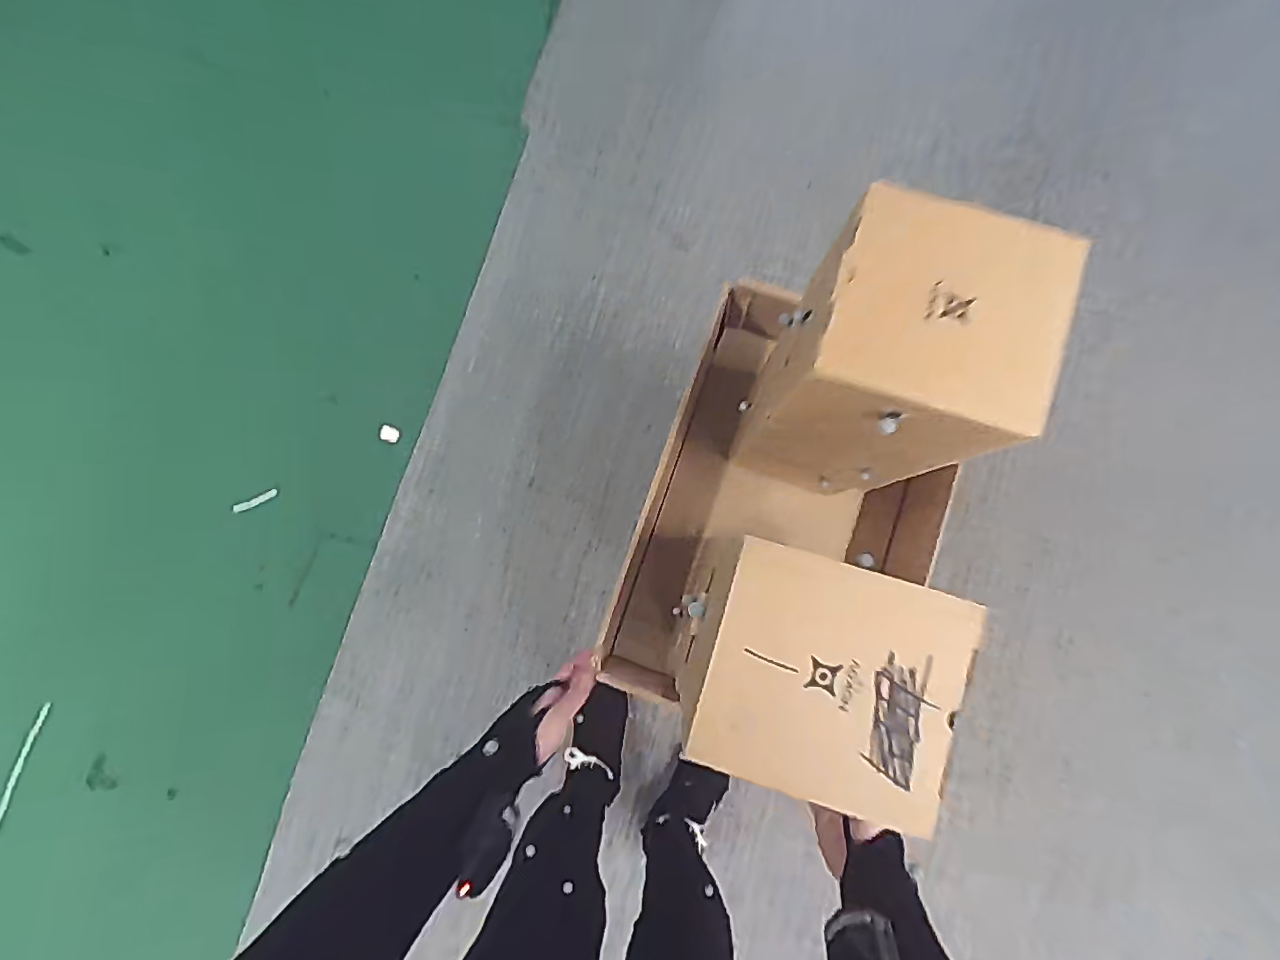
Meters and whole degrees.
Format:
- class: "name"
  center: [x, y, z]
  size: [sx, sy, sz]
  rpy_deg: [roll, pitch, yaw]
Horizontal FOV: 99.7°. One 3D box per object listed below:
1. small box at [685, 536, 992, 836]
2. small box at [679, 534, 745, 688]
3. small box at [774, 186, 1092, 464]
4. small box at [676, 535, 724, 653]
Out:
- class: "small box"
  center: [0.145, 0.148, 0.457]
  size: [0.179, 0.176, 0.168]
  rpy_deg: [17, 85, 5]
- class: "small box"
  center: [0.151, 0.168, 0.620]
  size: [0.179, 0.176, 0.168]
  rpy_deg: [18, 85, 6]
- class: "small box"
  center: [0.242, -0.120, 0.490]
  size: [0.179, 0.176, 0.168]
  rpy_deg: [18, 84, 4]
- class: "small box"
  center: [0.157, 0.188, 0.783]
  size: [0.179, 0.176, 0.168]
  rpy_deg: [20, 85, 4]
